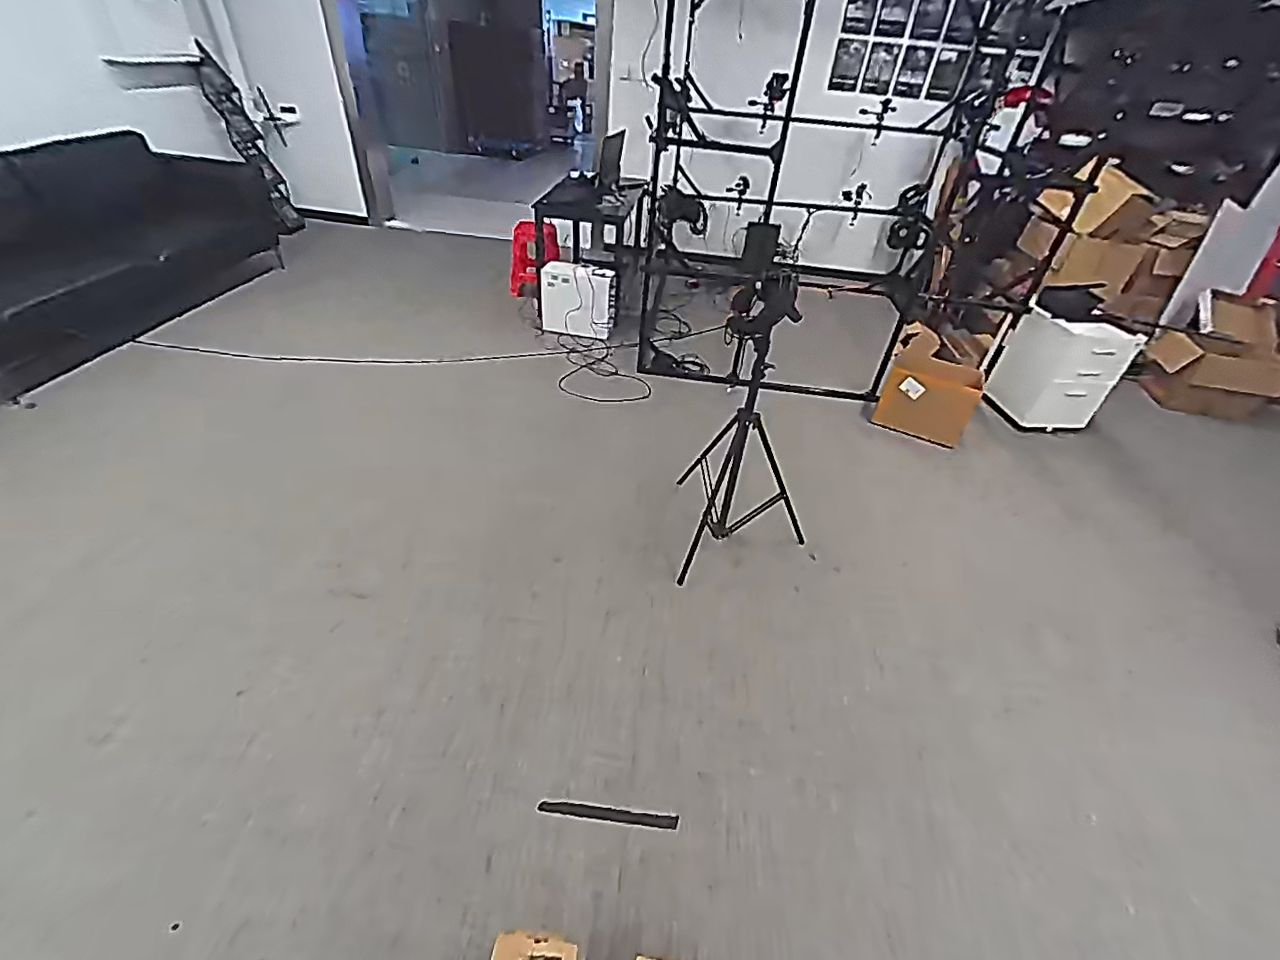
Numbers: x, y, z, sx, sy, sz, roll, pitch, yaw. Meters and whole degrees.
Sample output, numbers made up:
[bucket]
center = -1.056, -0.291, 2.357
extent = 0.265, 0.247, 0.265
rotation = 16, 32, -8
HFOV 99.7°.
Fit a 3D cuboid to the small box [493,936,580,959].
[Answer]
[small box]
center = -0.215, 1.026, 1.047
extent = 0.168, 0.176, 0.179
rotation = 7, 39, 2
